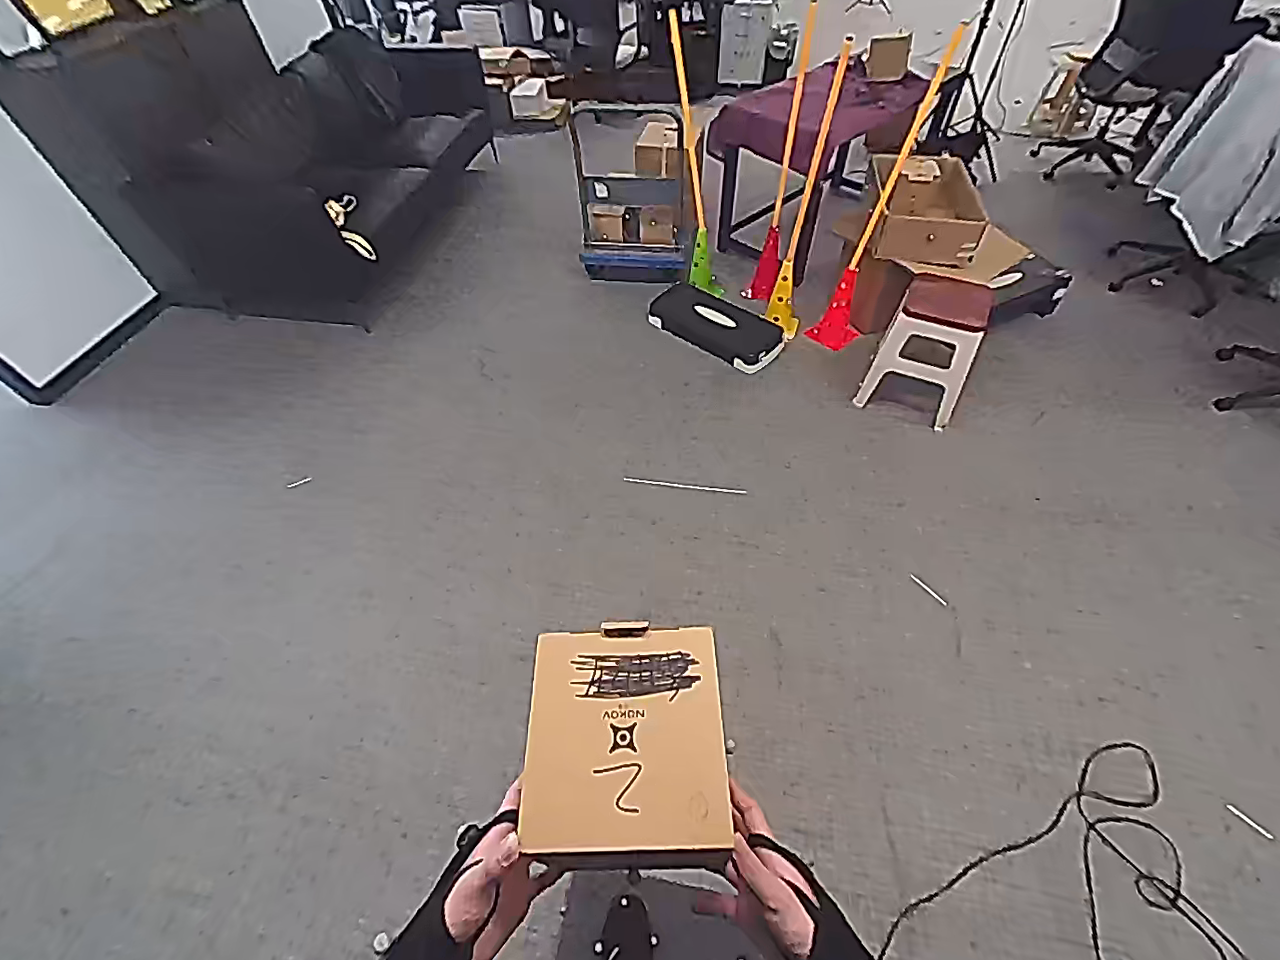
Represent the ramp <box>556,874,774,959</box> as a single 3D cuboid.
[{"bbox_3d":[-0.008,1.330,0.952,0.509,0.206,0.991,4,51,8],"label":"ramp"}]
